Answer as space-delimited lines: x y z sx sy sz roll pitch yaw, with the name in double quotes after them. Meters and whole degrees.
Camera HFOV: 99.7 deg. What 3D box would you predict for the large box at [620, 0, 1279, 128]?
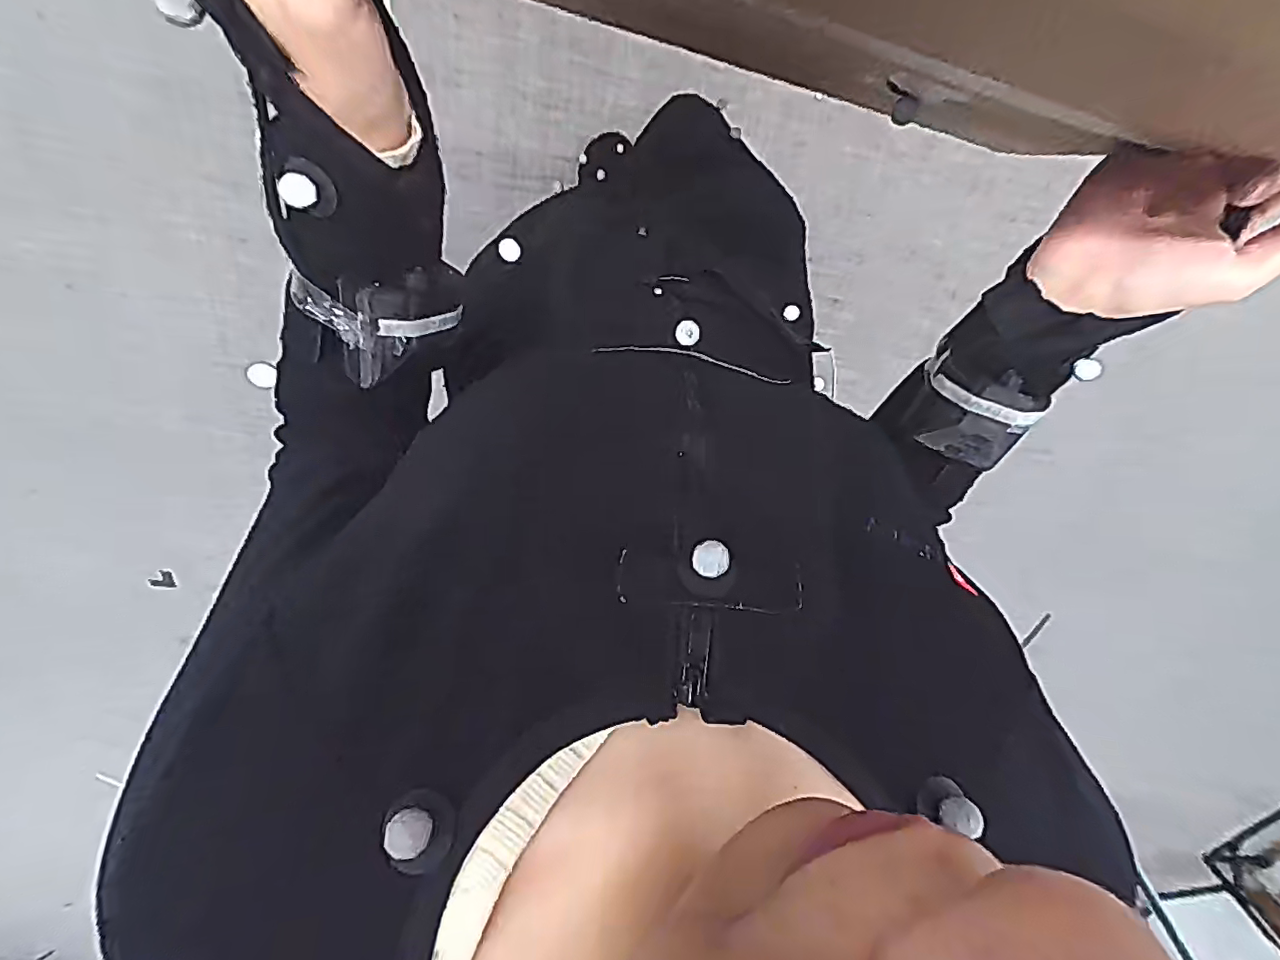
0.108 -0.318 0.126 0.408 0.320 0.320 7 121 -13 "large box"
